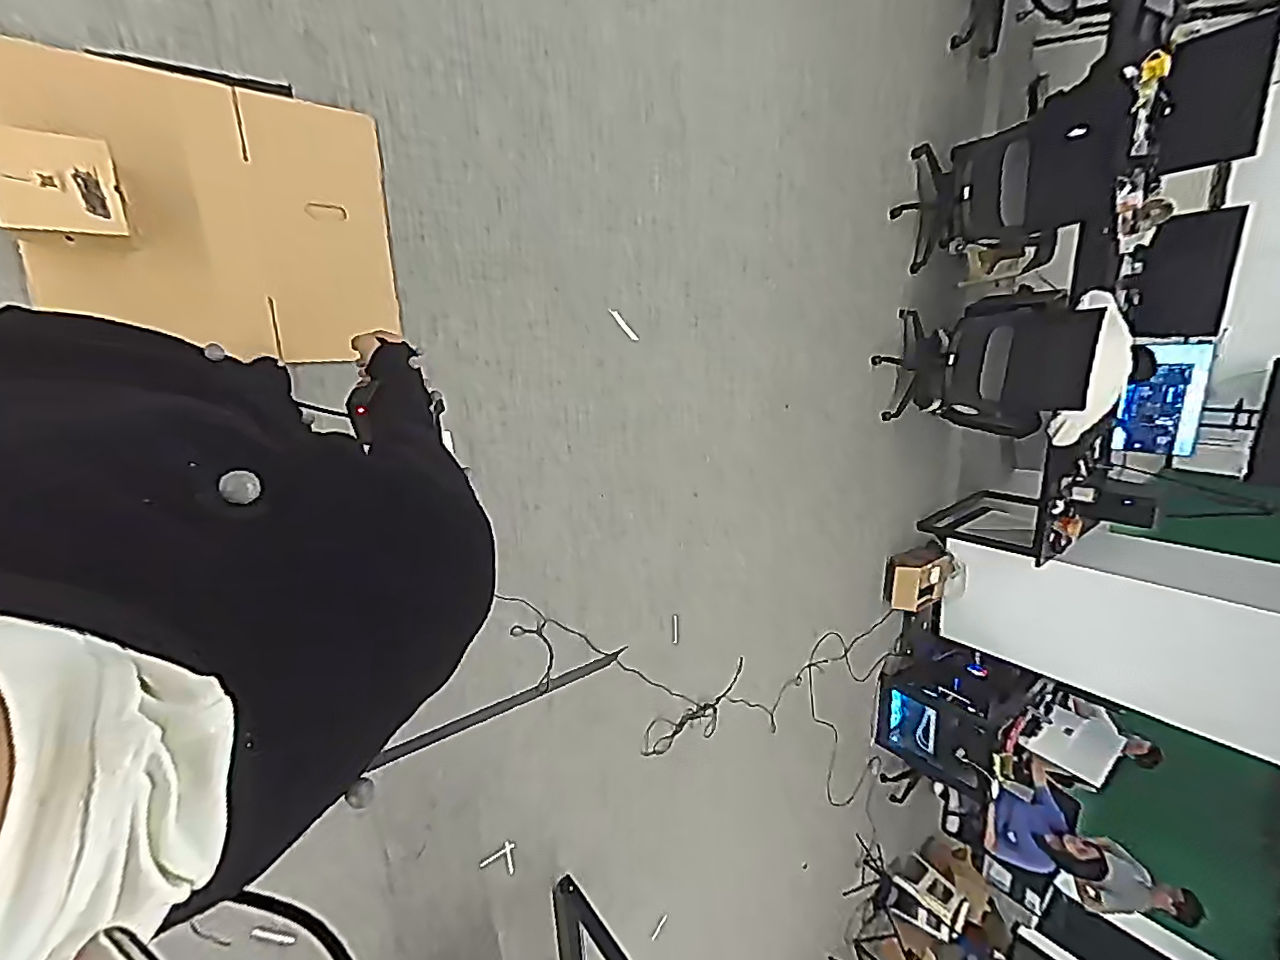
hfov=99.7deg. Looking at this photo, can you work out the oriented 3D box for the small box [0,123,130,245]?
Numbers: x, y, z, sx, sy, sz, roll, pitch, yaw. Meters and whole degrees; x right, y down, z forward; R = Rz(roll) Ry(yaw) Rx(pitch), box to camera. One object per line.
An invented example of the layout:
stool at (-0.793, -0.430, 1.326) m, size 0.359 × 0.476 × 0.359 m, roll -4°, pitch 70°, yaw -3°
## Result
small box at (-1.102, -0.550, 1.025) m, size 0.179 × 0.176 × 0.168 m, roll -12°, pitch 107°, yaw -36°
